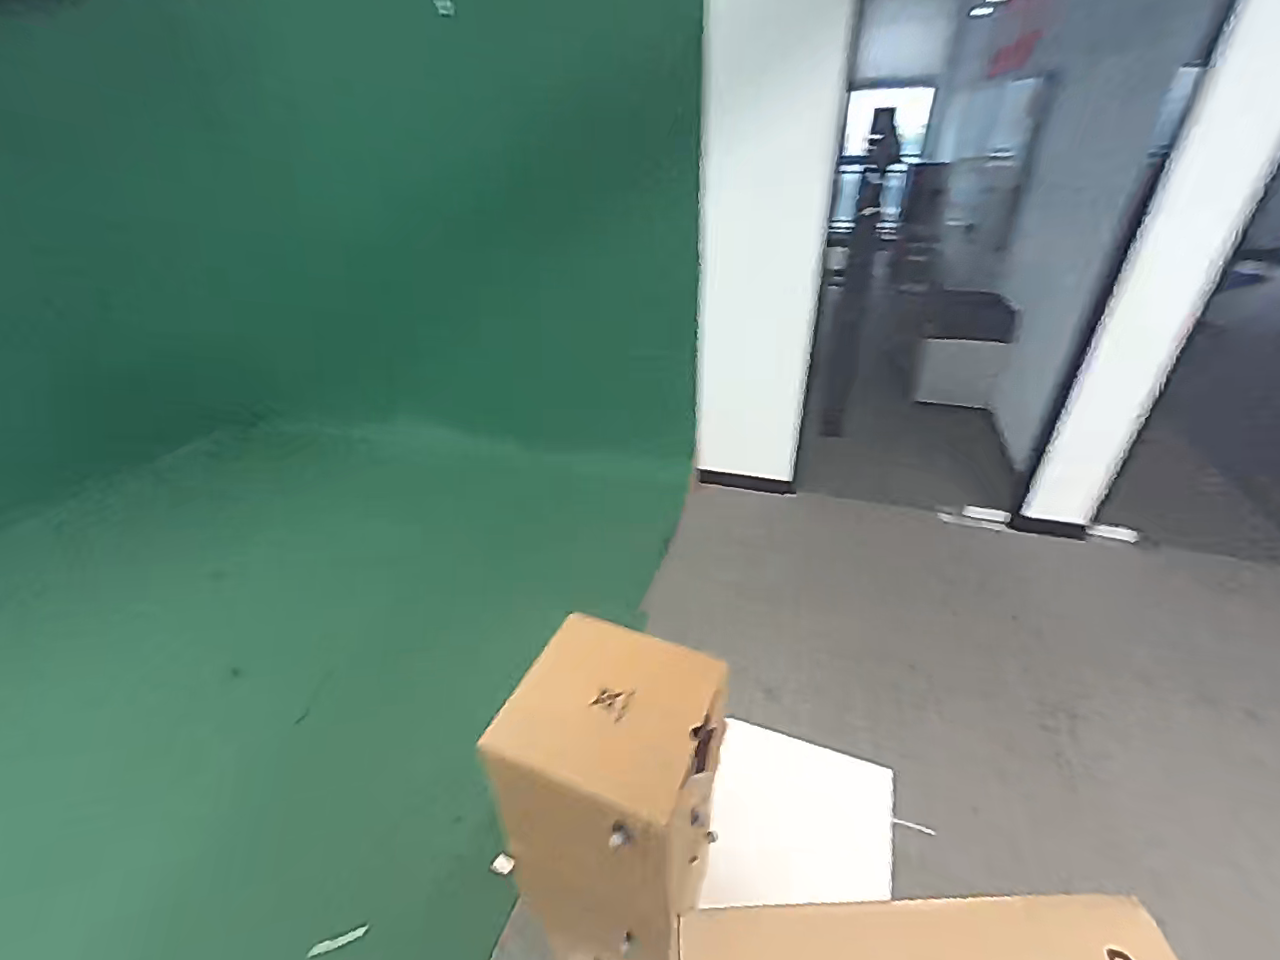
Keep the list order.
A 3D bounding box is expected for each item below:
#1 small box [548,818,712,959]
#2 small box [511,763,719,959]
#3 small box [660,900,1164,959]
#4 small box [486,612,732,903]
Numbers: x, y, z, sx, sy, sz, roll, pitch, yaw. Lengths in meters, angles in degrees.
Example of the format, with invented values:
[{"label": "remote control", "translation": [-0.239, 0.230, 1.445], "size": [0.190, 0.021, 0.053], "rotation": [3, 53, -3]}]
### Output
[{"label": "small box", "translation": [-0.010, 0.535, 0.717], "size": [0.168, 0.176, 0.179], "rotation": [13, 35, 19]}, {"label": "small box", "translation": [-0.019, 0.407, 0.617], "size": [0.179, 0.176, 0.168], "rotation": [11, 34, 19]}, {"label": "small box", "translation": [0.104, 0.275, 0.185], "size": [0.179, 0.176, 0.168], "rotation": [-6, 35, 4]}, {"label": "small box", "translation": [-0.022, 0.267, 0.534], "size": [0.179, 0.176, 0.168], "rotation": [13, 35, 20]}]
